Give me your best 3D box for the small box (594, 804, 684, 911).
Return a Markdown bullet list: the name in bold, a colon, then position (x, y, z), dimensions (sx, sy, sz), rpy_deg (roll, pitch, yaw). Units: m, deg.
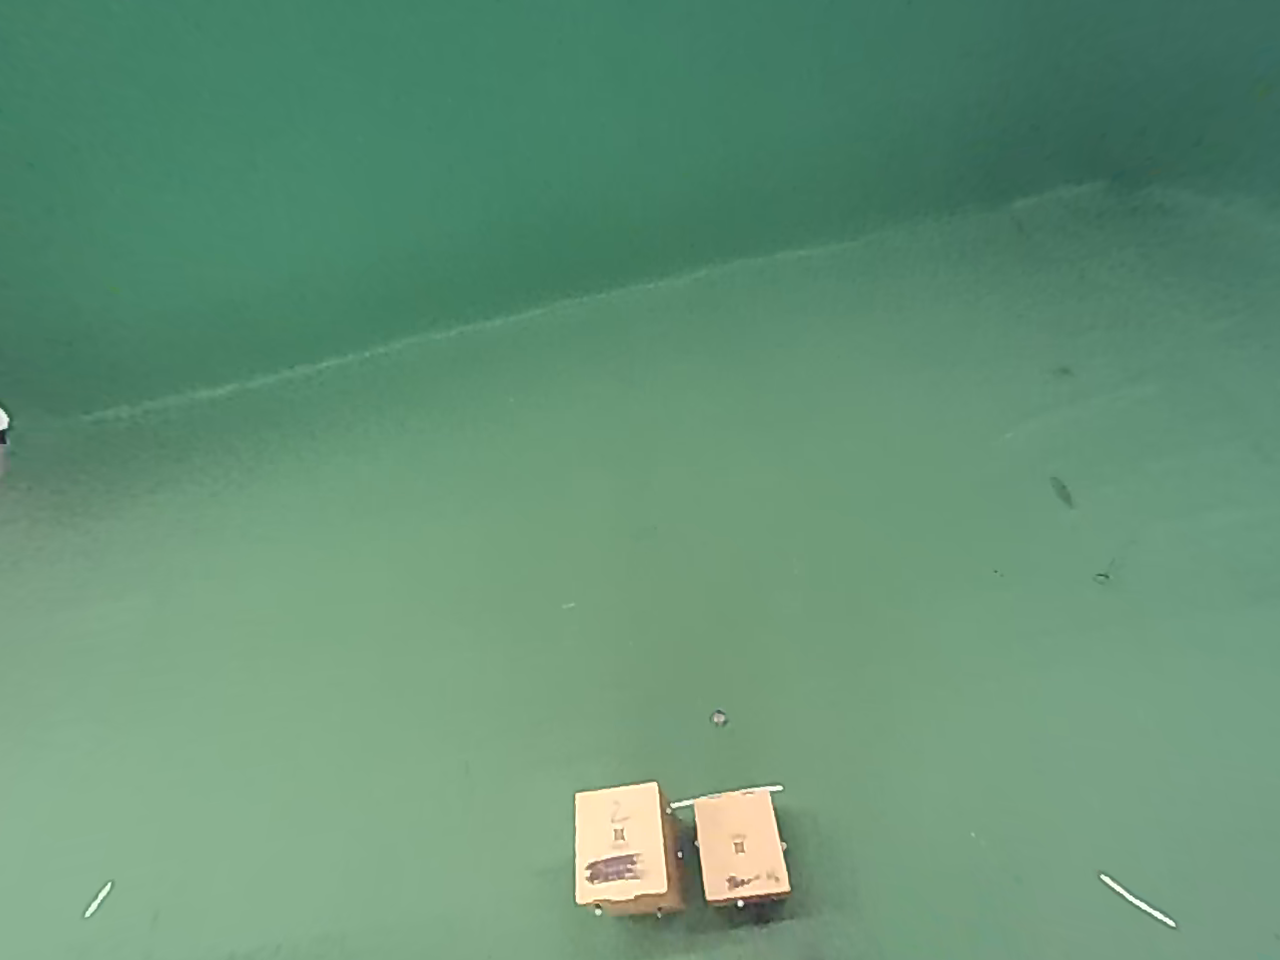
- **small box**: position (0.000, 0.827, 1.179), dimensions (0.168, 0.176, 0.179), rpy_deg (-9, 48, 6)
